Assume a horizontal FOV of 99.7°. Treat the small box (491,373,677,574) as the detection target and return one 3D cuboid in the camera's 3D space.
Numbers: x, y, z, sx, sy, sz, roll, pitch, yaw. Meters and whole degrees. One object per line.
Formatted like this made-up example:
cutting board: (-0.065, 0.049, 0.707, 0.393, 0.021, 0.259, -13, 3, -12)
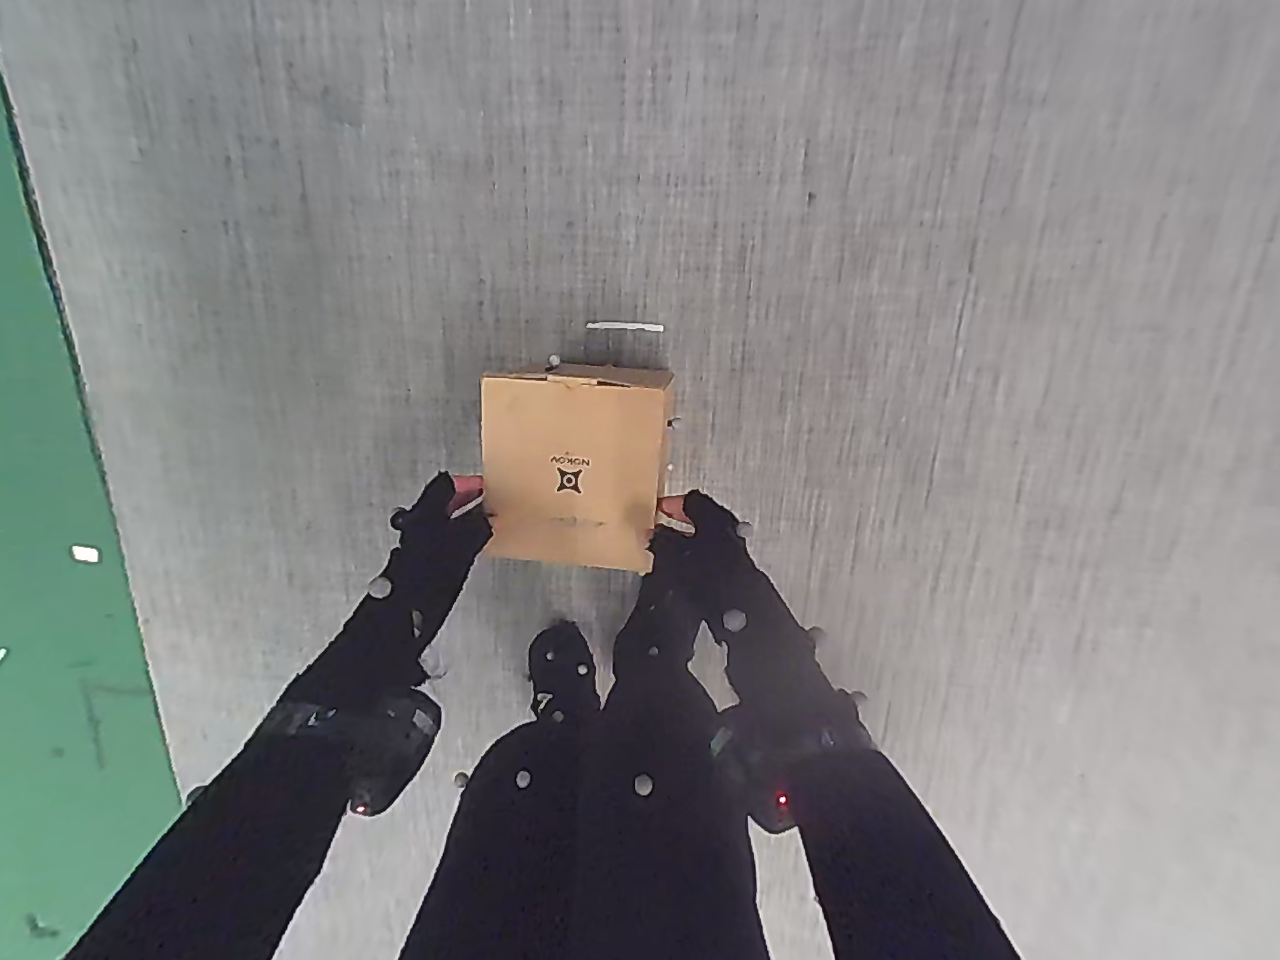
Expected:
small box: (-0.049, -0.019, 0.579, 0.168, 0.176, 0.179, 4, 106, 6)
